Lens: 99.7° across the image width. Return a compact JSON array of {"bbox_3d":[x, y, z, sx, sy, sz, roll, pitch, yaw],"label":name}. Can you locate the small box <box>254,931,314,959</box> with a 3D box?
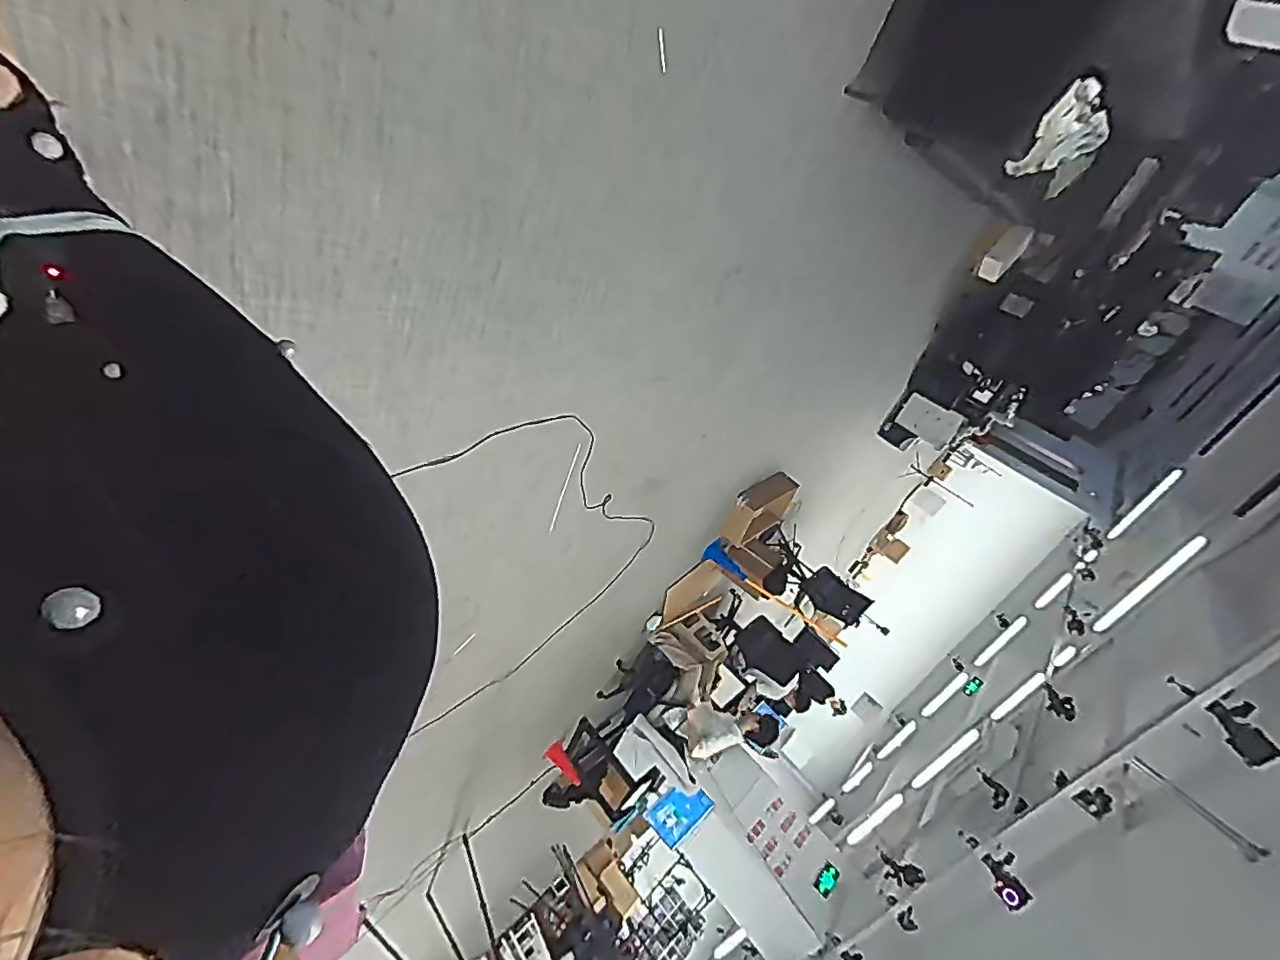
[{"bbox_3d":[-0.926,1.312,1.377,0.168,0.176,0.179,-13,135,-48],"label":"small box"}]
